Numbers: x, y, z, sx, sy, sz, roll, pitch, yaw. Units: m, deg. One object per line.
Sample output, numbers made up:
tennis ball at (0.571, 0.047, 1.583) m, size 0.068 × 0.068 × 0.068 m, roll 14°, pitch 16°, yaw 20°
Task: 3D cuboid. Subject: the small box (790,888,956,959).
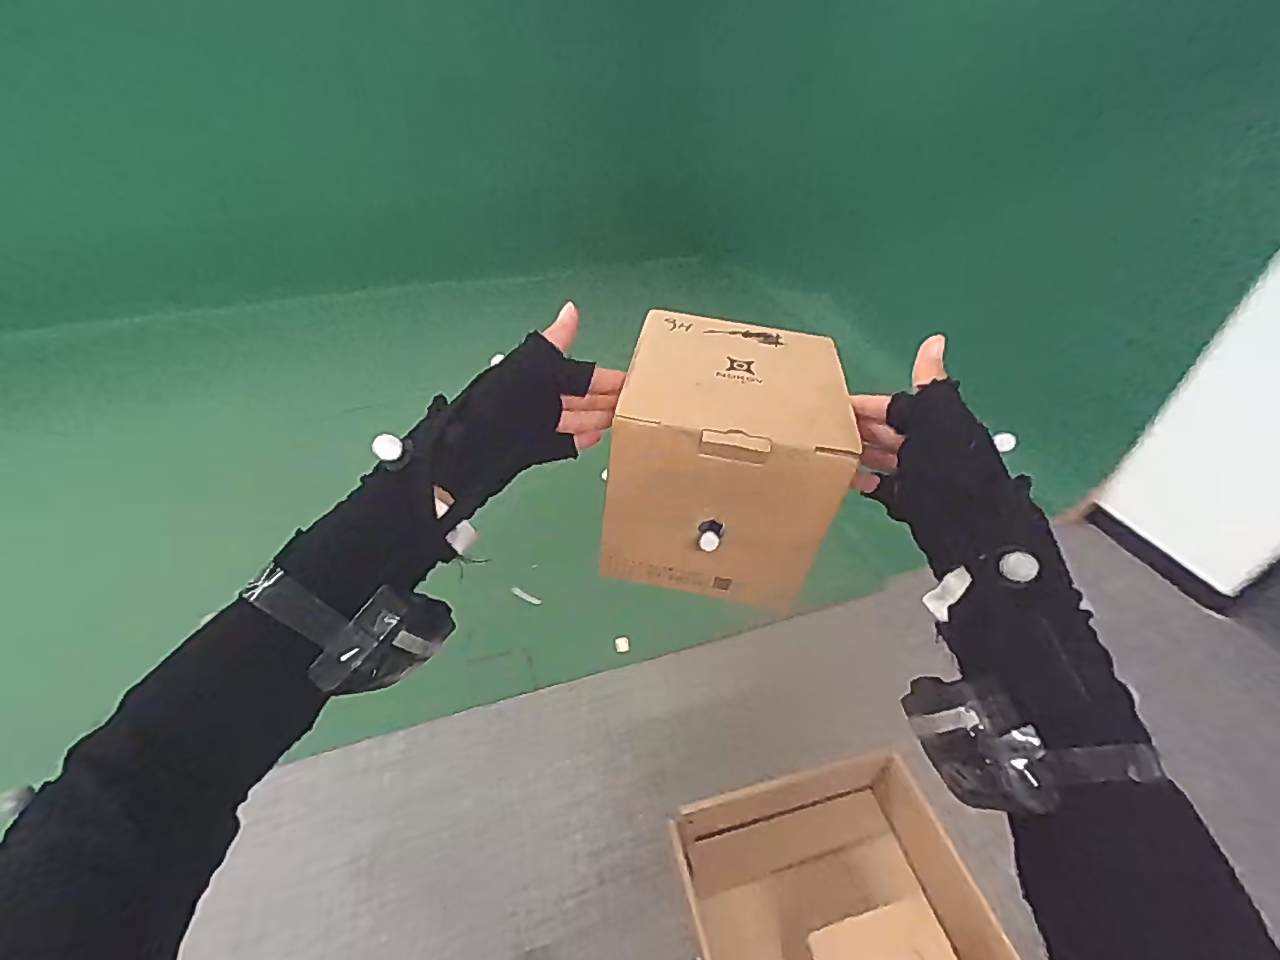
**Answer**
small box at (0.317, 0.683, 0.720) m, size 0.179 × 0.176 × 0.168 m, roll -9°, pitch 45°, yaw -13°
